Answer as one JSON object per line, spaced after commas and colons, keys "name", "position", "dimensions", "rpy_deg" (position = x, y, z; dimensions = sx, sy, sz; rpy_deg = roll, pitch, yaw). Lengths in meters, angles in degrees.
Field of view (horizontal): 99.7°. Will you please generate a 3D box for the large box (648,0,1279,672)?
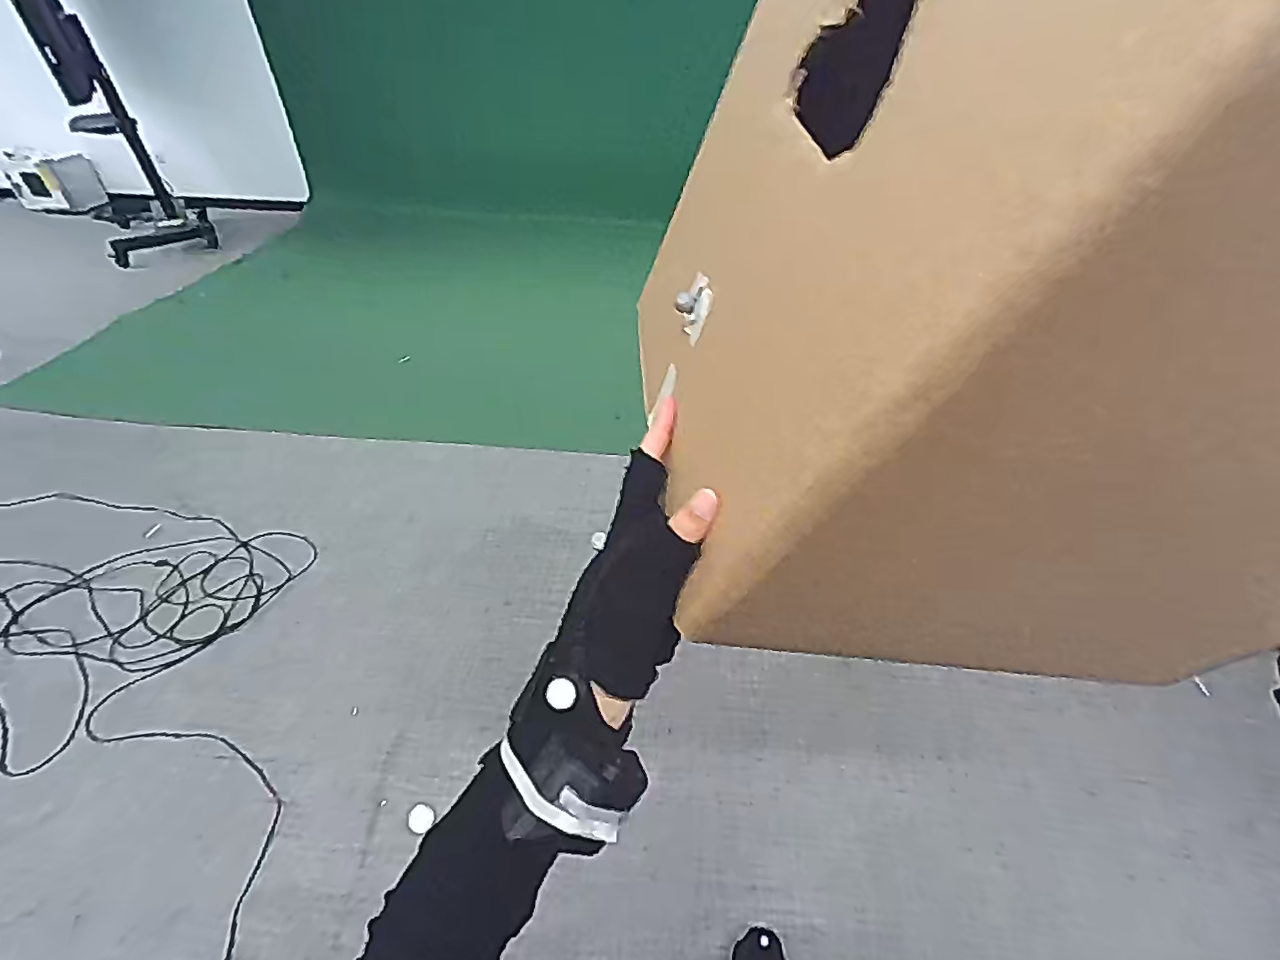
{"name": "large box", "position": [0.252, -0.090, 0.348], "dimensions": [0.408, 0.320, 0.320], "rpy_deg": [11, 49, -18]}
